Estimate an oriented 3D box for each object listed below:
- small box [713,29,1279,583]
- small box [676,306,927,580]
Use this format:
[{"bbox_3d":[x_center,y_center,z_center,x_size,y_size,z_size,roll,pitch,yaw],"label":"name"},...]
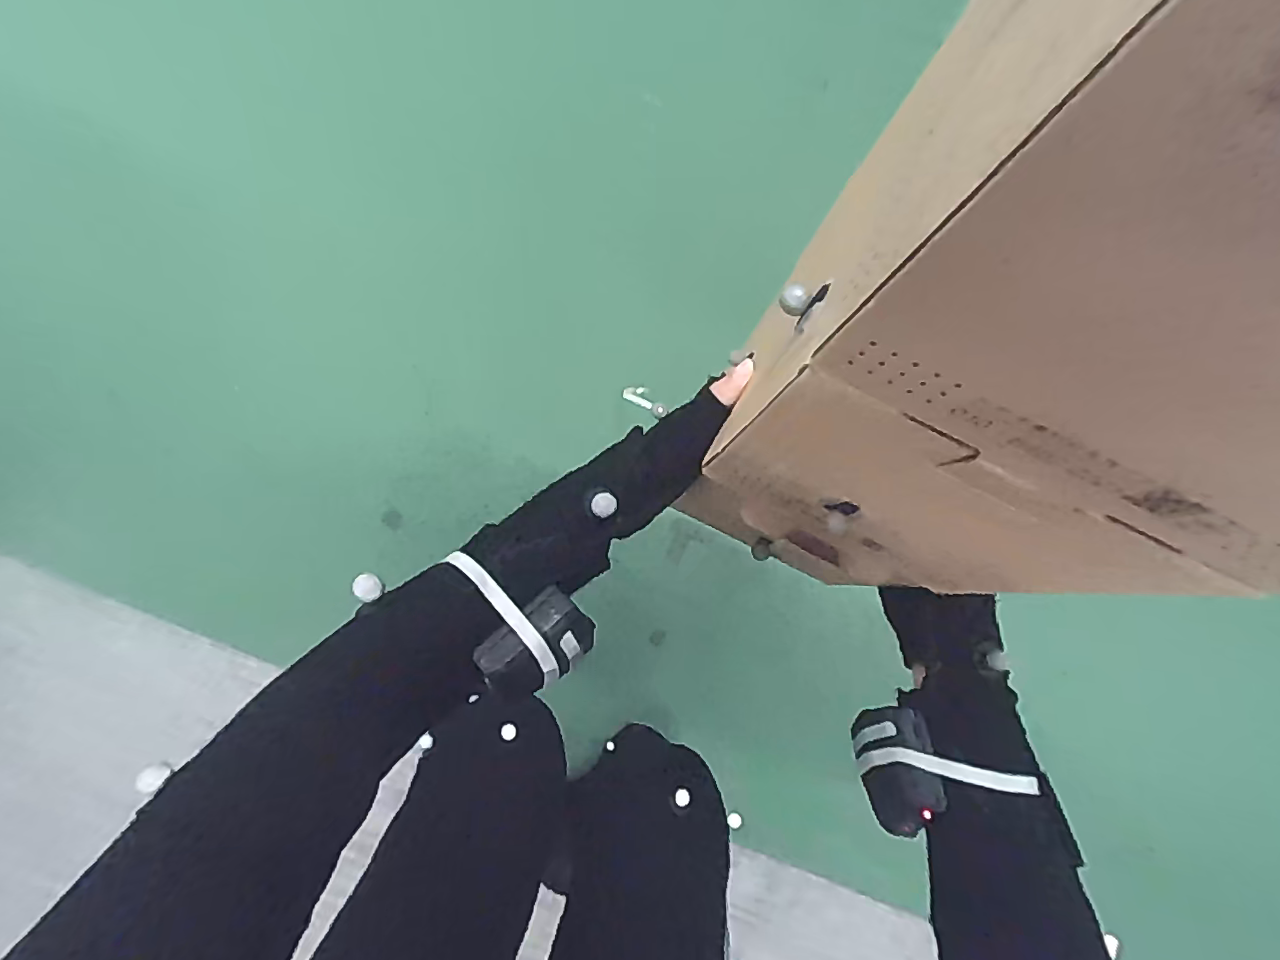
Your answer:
[{"bbox_3d":[0.154,-0.061,0.284,0.168,0.176,0.179,26,79,0],"label":"small box"},{"bbox_3d":[0.142,-0.032,0.444,0.168,0.176,0.179,26,79,0],"label":"small box"}]
